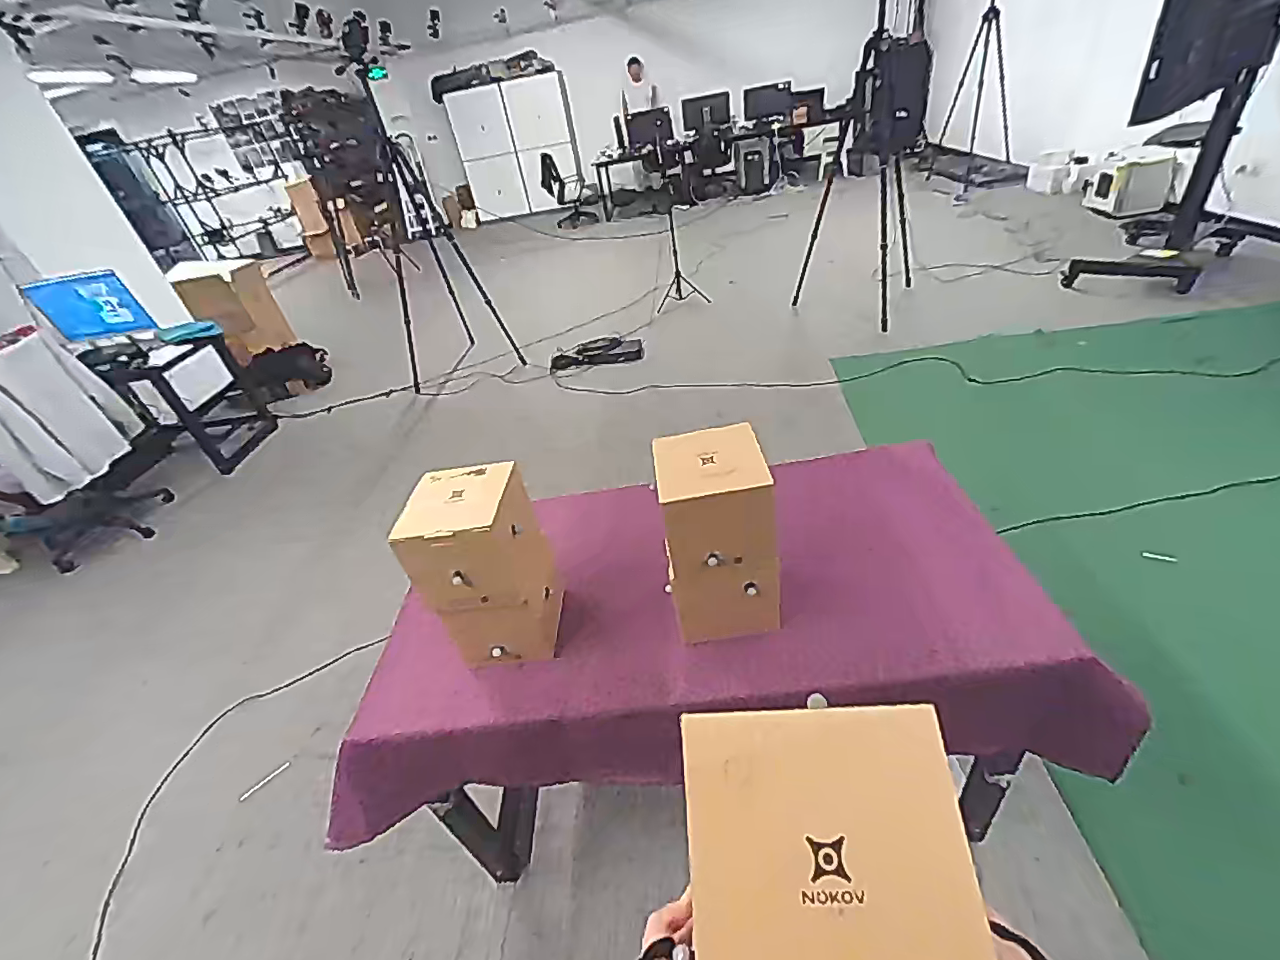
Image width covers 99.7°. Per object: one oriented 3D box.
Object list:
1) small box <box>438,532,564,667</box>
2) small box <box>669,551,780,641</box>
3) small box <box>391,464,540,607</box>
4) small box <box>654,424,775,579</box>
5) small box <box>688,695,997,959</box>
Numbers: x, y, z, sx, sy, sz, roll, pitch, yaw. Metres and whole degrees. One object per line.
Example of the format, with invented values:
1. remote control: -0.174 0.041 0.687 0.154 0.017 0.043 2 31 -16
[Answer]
1. small box: -0.246 0.223 1.011 0.168 0.176 0.179 -8 37 6
2. small box: 0.147 0.165 0.971 0.179 0.176 0.168 -9 35 5
3. small box: -0.278 0.098 0.909 0.168 0.176 0.179 -7 37 6
4. small box: 0.118 0.035 0.878 0.168 0.176 0.179 -10 36 4
5. small box: 0.122 0.260 0.397 0.168 0.176 0.179 -5 65 5
